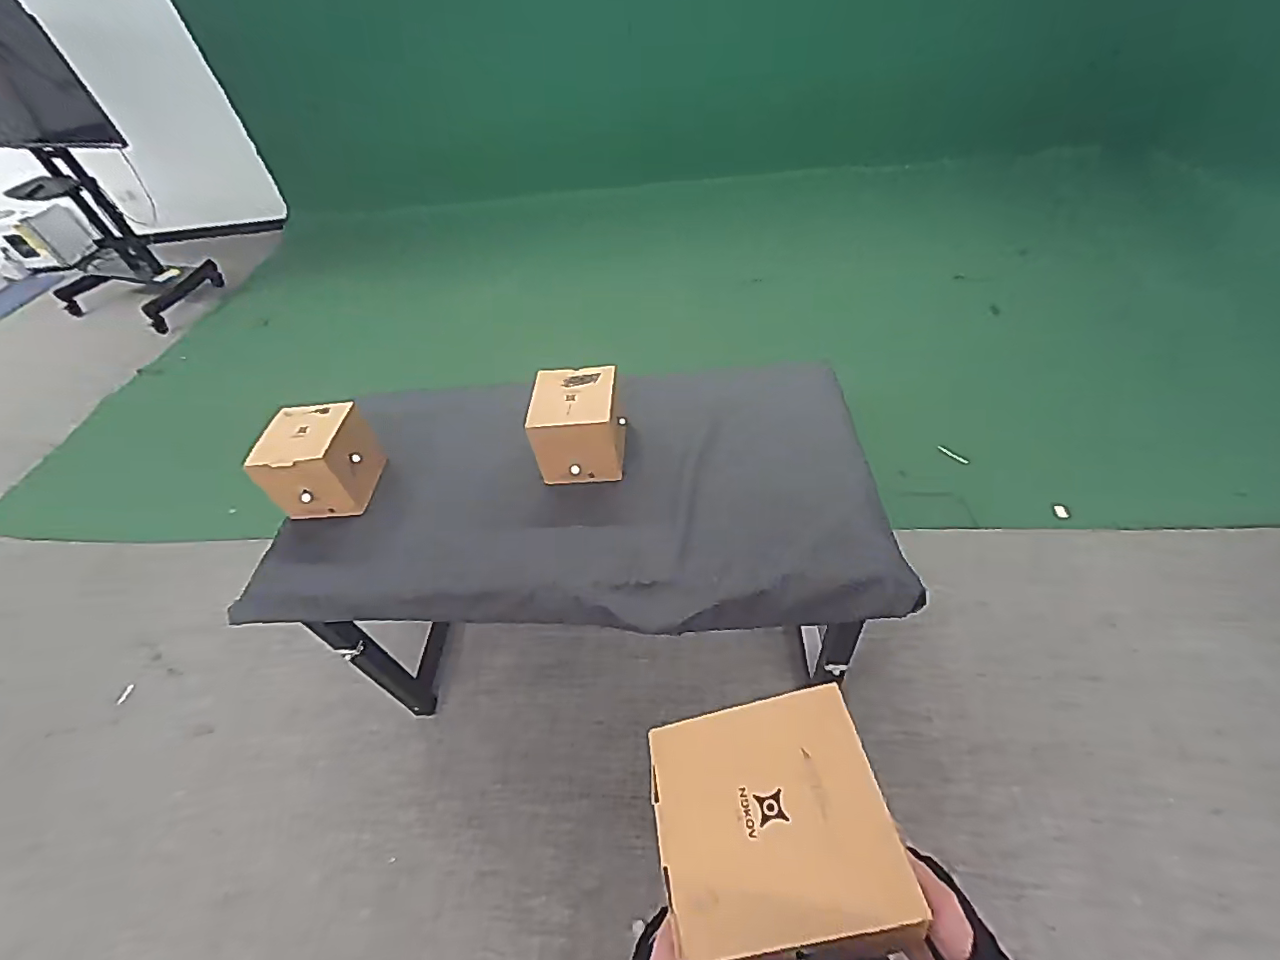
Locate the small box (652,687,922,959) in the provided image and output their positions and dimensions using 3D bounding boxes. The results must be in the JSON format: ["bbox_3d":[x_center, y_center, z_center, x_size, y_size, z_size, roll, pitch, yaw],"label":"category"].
[{"bbox_3d":[0.124,0.317,0.485,0.179,0.176,0.168,-16,43,5],"label":"small box"}]

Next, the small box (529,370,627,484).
[{"bbox_3d":[-0.120,-0.109,1.136,0.168,0.176,0.179,-2,49,6],"label":"small box"}]

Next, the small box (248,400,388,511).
[{"bbox_3d":[-0.669,-0.045,1.151,0.168,0.176,0.179,-3,48,4],"label":"small box"}]
